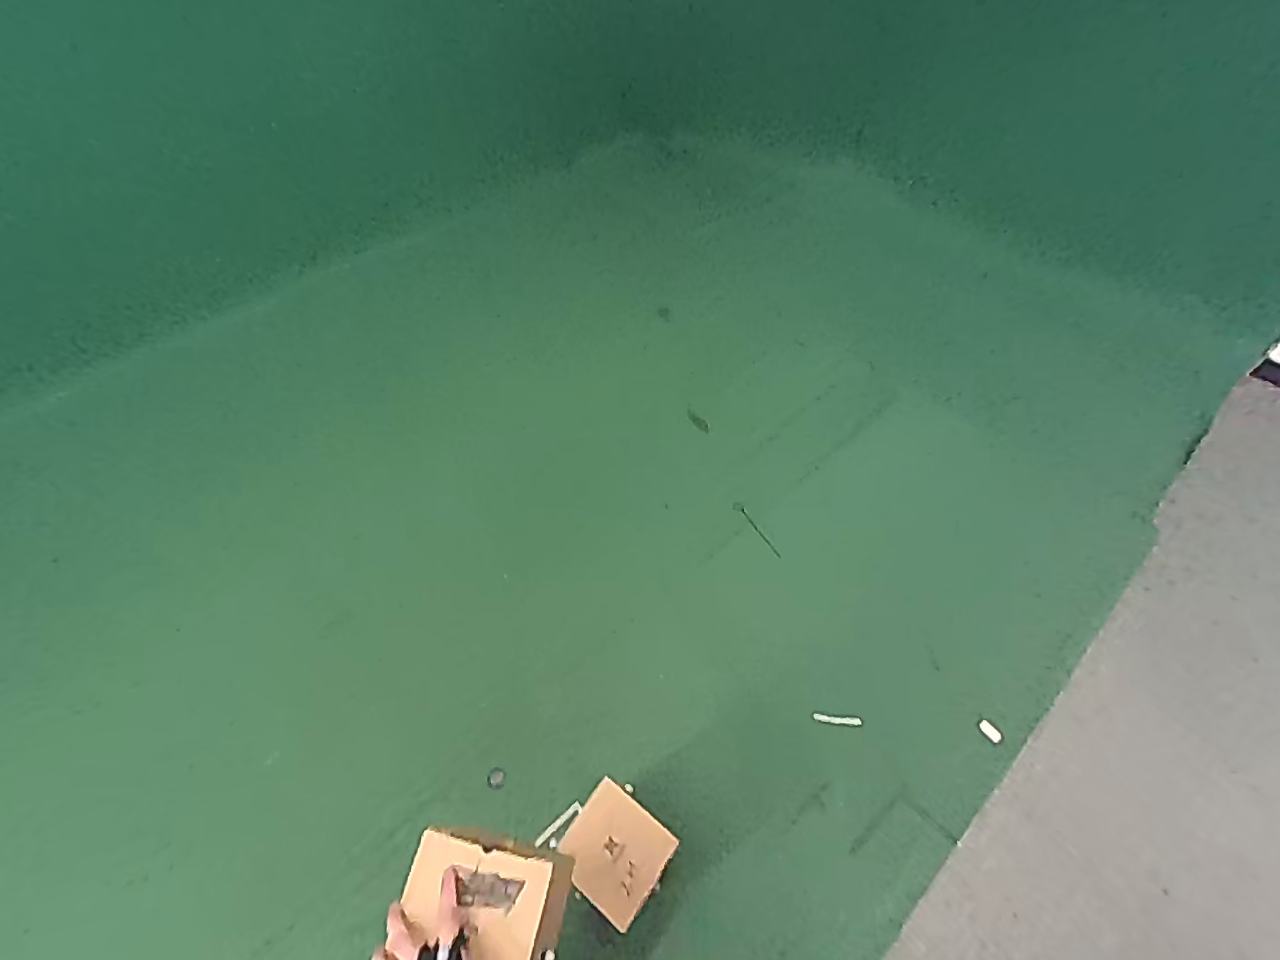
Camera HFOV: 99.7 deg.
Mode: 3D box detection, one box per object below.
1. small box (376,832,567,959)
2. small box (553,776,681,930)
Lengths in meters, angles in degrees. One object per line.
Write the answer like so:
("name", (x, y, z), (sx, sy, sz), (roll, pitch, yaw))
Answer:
("small box", (-0.197, 0.552, 0.663), (0.168, 0.176, 0.179), (9, 59, 10))
("small box", (-0.039, 0.706, 1.034), (0.179, 0.176, 0.168), (32, 64, 21))
